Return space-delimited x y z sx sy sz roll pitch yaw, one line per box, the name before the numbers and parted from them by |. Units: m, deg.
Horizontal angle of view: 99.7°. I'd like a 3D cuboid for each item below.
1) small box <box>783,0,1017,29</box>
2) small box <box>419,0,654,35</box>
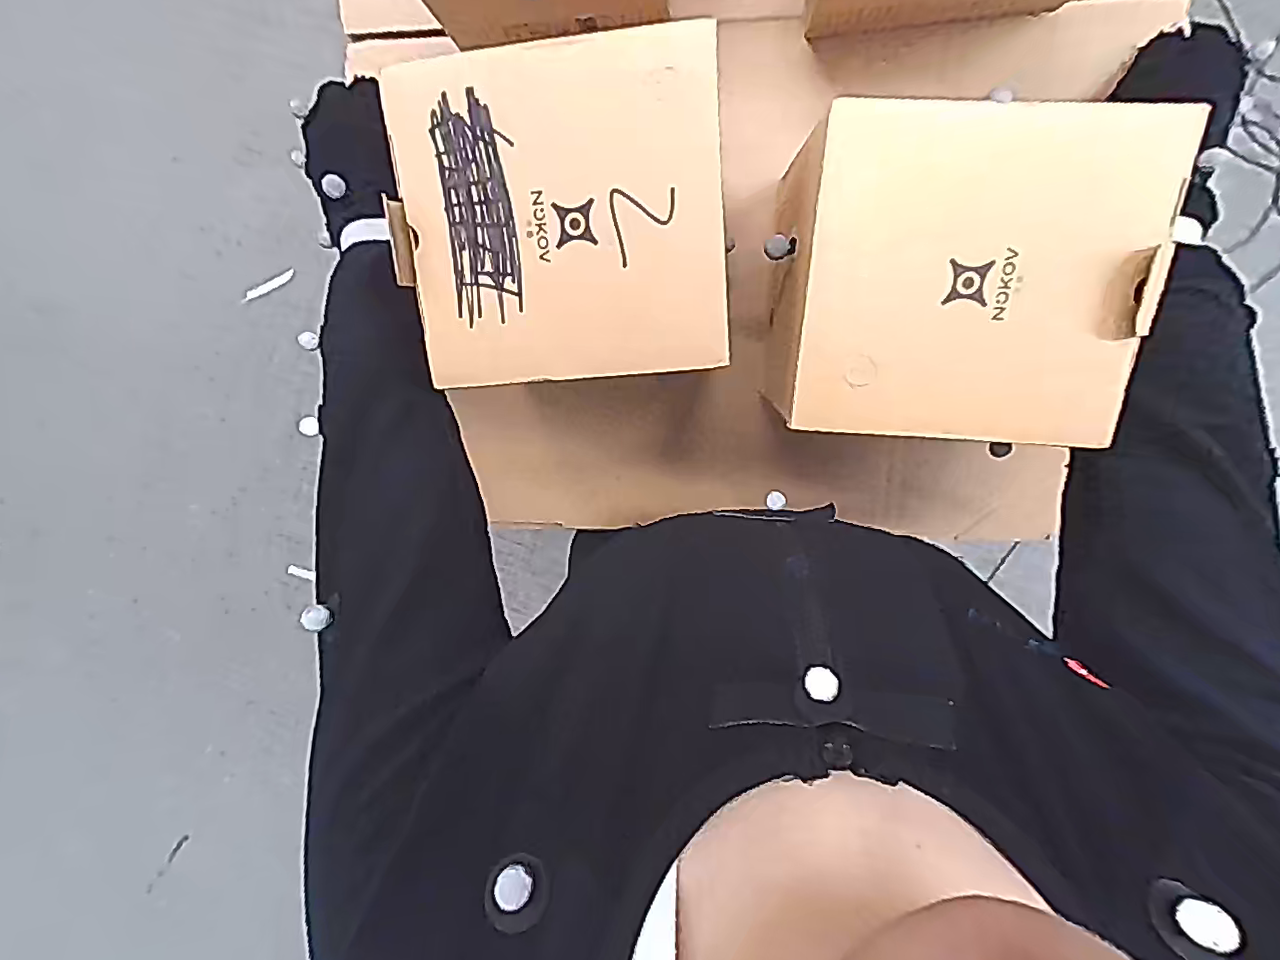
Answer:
small box | 0.181 -0.384 0.289 0.179 0.176 0.168 -1 105 6
small box | -0.078 -0.396 0.311 0.168 0.176 0.179 -1 104 5
